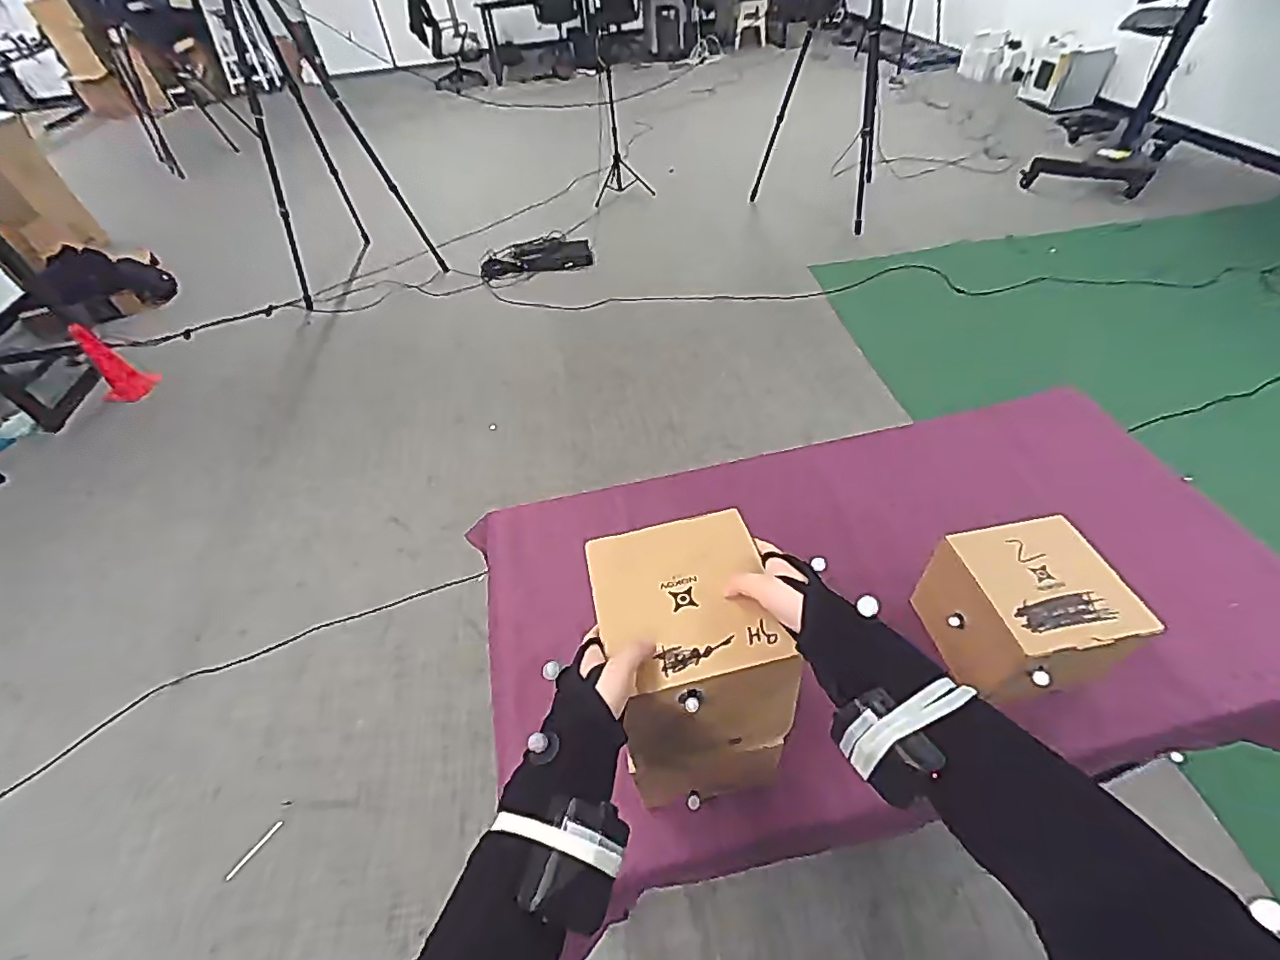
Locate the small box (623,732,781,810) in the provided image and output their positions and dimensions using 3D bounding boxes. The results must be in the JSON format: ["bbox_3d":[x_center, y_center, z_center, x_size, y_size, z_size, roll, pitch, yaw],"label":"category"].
[{"bbox_3d":[0.064,0.284,0.675,0.168,0.176,0.179,-10,47,-1],"label":"small box"}]

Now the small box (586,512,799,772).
[{"bbox_3d":[0.048,0.165,0.557,0.168,0.176,0.179,-14,43,-3],"label":"small box"}]
